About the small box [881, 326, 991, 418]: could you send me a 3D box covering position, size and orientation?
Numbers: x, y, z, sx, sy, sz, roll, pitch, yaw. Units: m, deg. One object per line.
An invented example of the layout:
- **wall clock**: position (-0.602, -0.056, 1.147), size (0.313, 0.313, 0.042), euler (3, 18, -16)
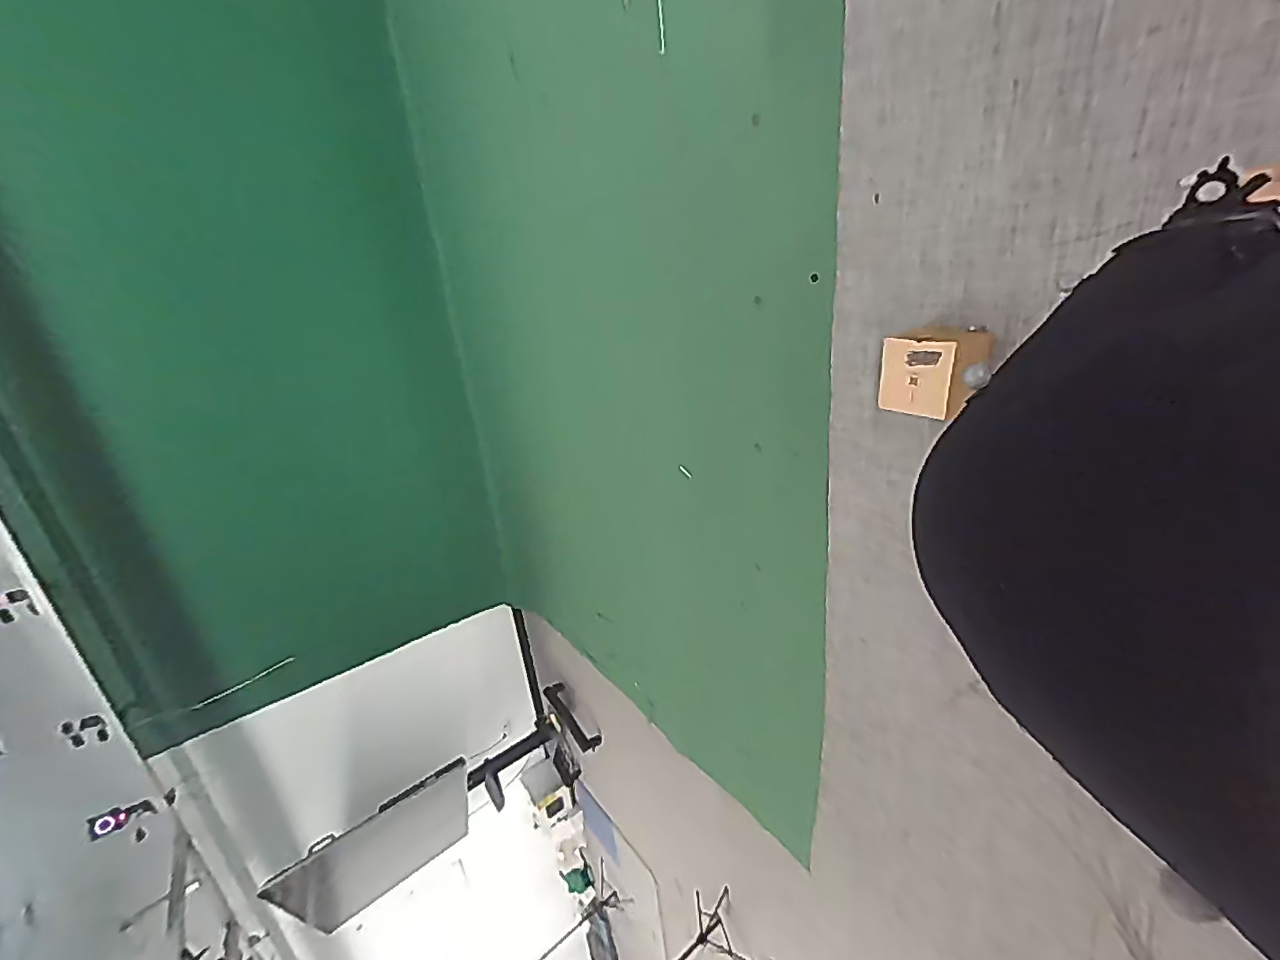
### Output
- **small box**: position (0.699, -0.264, 1.278), size (0.168, 0.176, 0.179), euler (25, 128, 49)
